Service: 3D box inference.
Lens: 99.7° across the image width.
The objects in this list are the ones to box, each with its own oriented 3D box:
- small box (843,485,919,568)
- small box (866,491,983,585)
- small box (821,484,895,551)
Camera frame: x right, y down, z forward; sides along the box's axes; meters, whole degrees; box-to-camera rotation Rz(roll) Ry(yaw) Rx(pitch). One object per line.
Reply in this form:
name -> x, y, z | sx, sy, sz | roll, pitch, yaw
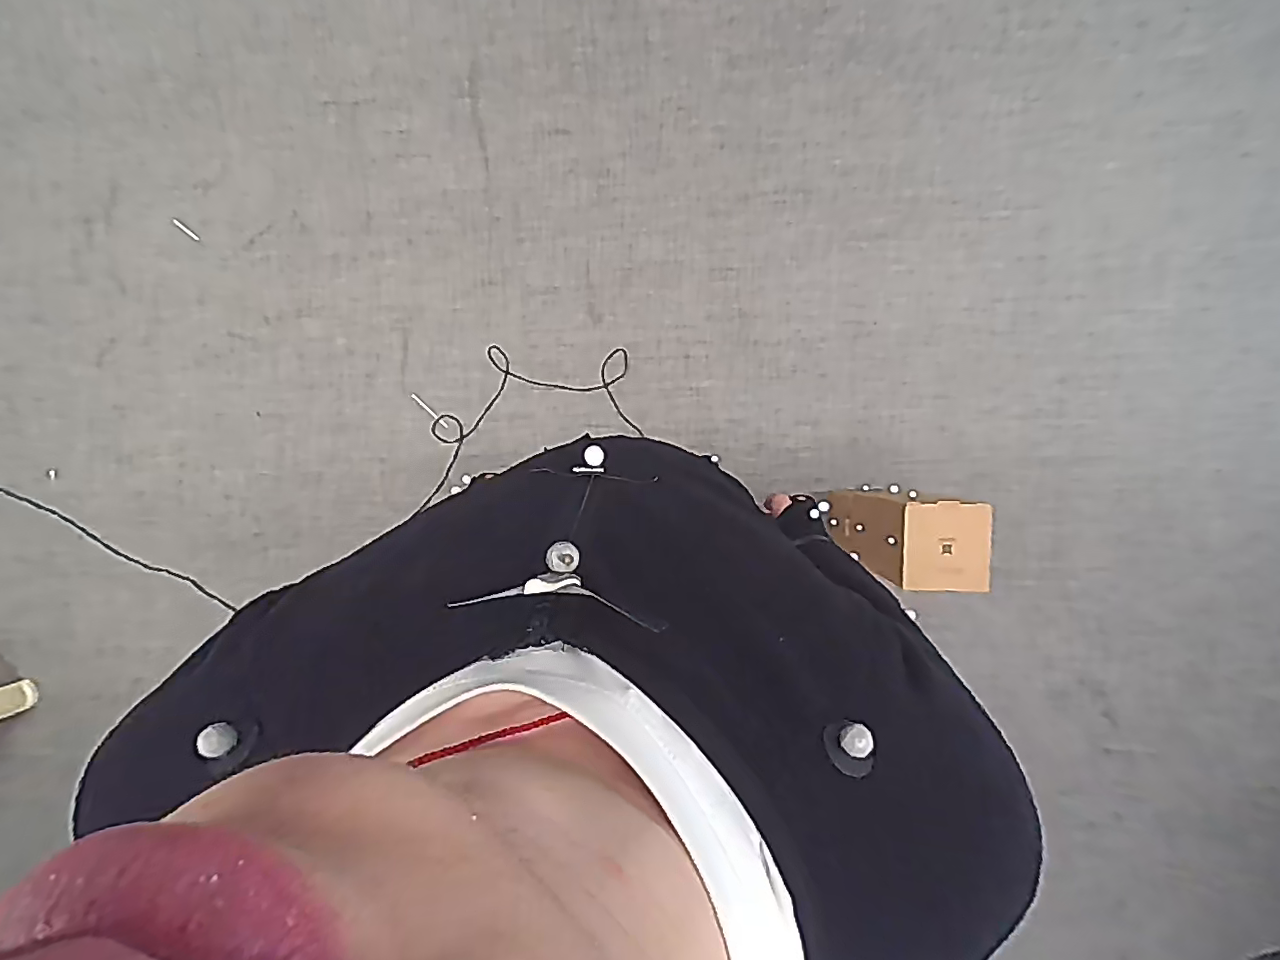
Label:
small box -> 0.608, 0.110, 1.315 | 0.168, 0.176, 0.179 | 2, 95, -1
small box -> 0.598, 0.117, 1.156 | 0.168, 0.176, 0.179 | -1, 96, 2
small box -> 0.611, 0.100, 1.501 | 0.179, 0.176, 0.168 | -3, 94, 1
